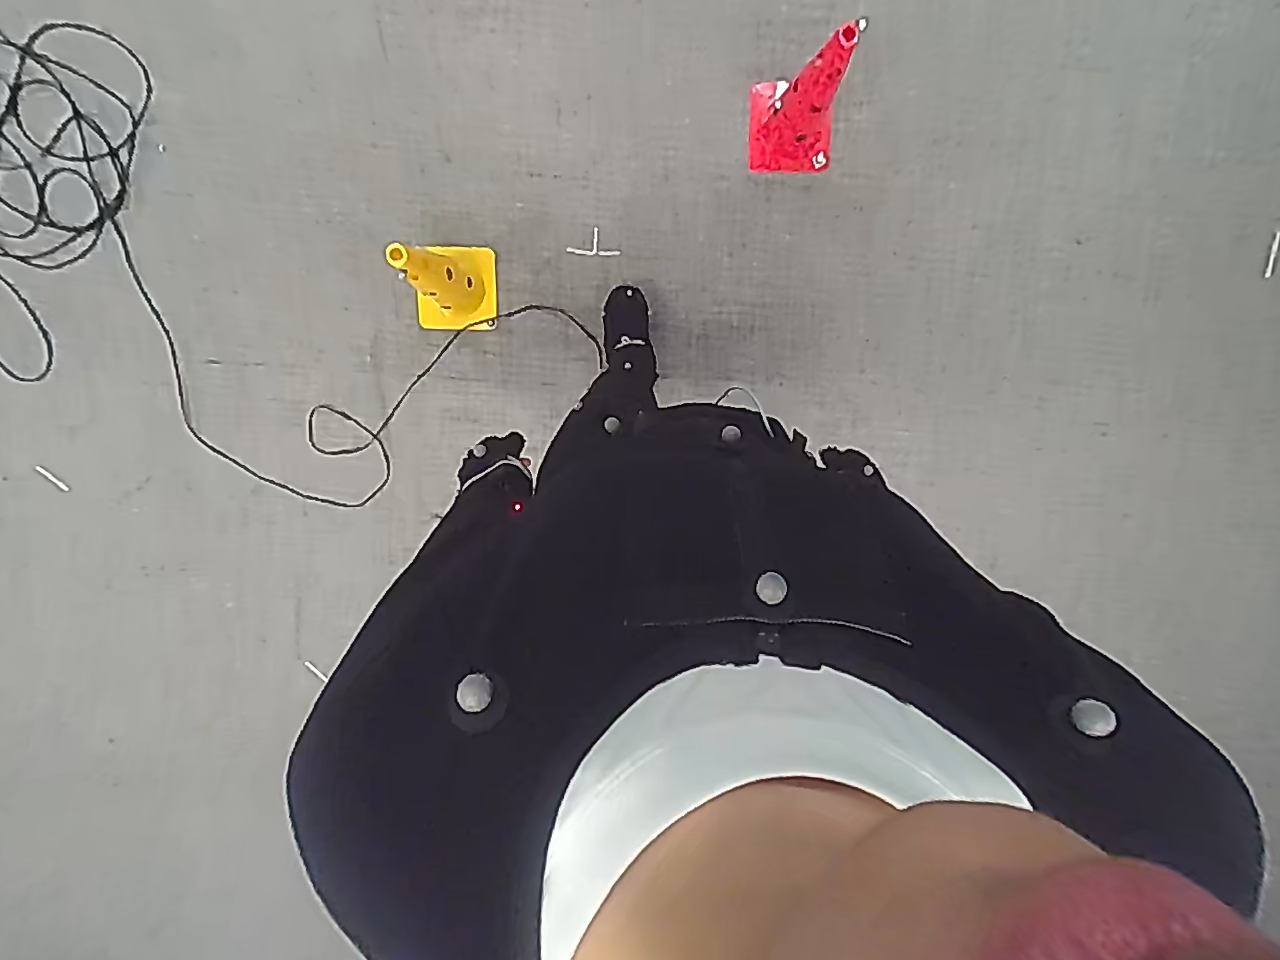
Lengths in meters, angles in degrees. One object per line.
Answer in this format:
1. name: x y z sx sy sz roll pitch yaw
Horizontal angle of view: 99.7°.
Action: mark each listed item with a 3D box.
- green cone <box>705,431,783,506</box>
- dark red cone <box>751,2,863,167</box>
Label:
1. green cone: 0.279 -0.003 1.287 0.202 0.368 0.200 2 99 0
2. dark red cone: 0.366 -0.829 1.120 0.202 0.394 0.201 -2 99 0
